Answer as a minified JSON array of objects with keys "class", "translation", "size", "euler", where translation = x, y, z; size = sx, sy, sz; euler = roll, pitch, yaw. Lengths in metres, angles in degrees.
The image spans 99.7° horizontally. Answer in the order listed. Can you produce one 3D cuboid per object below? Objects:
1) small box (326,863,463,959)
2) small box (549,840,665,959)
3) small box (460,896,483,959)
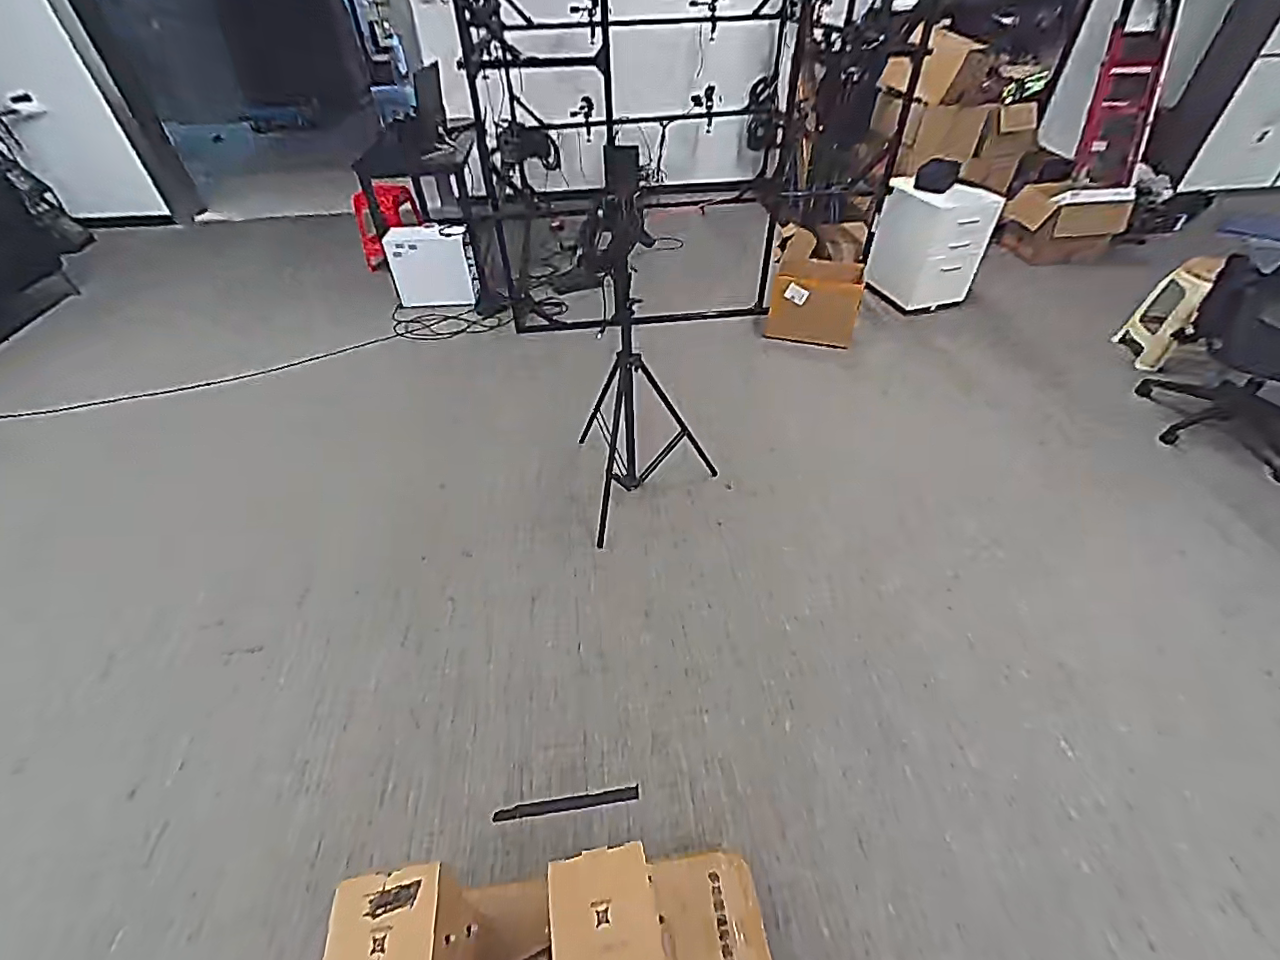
[{"class":"small box","translation":[-0.395,0.765,0.887],"size":[0.168,0.176,0.179],"euler":[-7,43,-7]},{"class":"small box","translation":[-0.056,0.744,0.908],"size":[0.168,0.176,0.179],"euler":[-10,44,-7]},{"class":"small box","translation":[-0.389,0.896,0.987],"size":[0.168,0.176,0.179],"euler":[-6,43,-5]}]
